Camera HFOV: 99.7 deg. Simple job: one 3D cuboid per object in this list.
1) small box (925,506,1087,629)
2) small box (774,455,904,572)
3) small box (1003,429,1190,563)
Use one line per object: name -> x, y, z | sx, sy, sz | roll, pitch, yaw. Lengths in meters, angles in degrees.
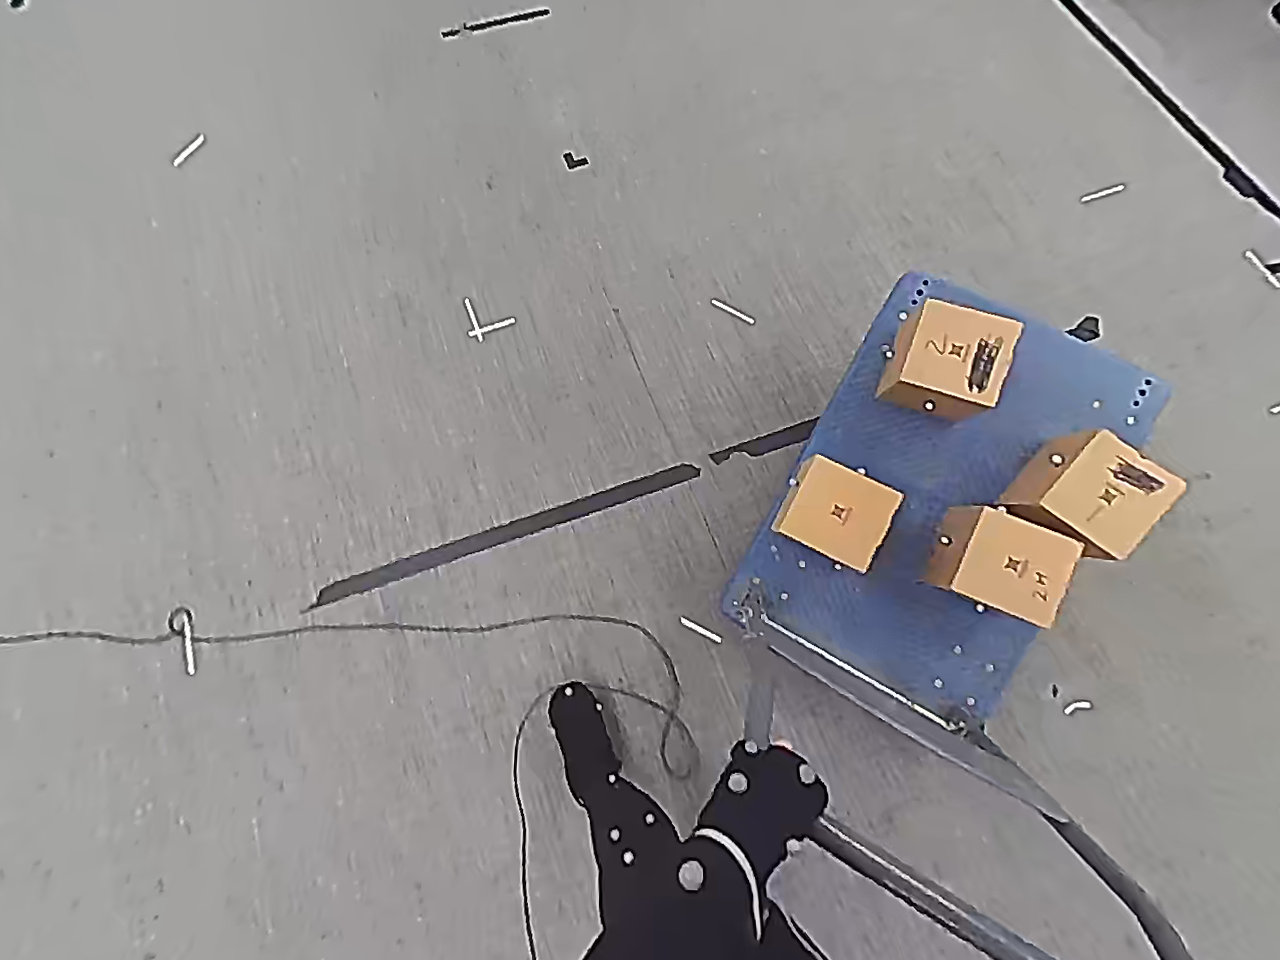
small box -> 0.679, 0.160, 1.030 | 0.179, 0.176, 0.168 | 23, 90, 10
small box -> 0.385, 0.067, 1.084 | 0.179, 0.176, 0.168 | 26, 90, 8
small box -> 0.835, 0.030, 1.013 | 0.168, 0.176, 0.179 | 39, 93, 10
